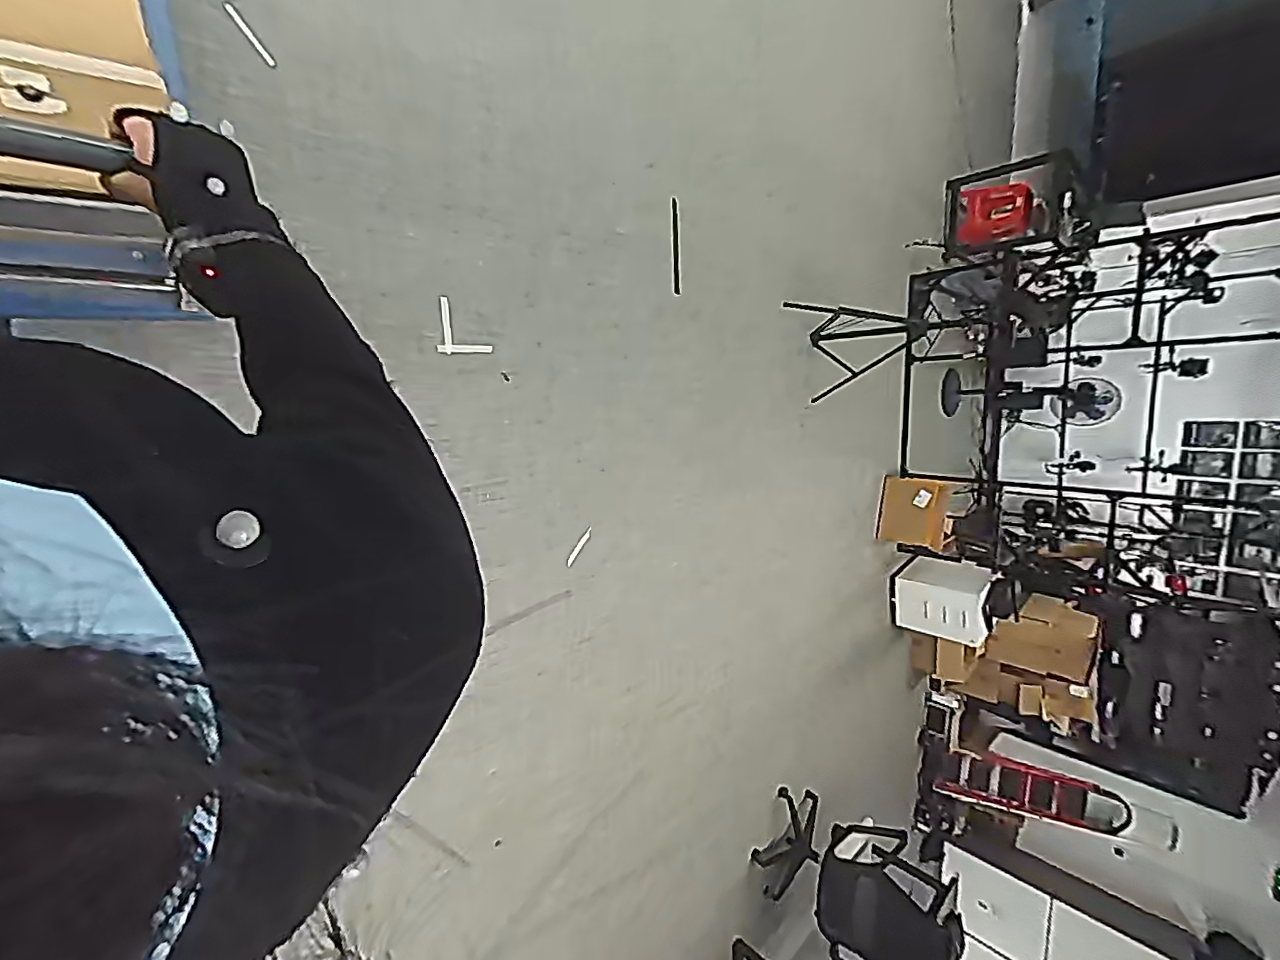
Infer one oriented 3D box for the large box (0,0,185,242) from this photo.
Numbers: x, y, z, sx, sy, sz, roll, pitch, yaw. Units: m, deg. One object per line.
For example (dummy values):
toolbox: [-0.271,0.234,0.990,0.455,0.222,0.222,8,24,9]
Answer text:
large box: [-0.928,-0.527,0.730,0.408,0.320,0.320,-18,108,-43]
